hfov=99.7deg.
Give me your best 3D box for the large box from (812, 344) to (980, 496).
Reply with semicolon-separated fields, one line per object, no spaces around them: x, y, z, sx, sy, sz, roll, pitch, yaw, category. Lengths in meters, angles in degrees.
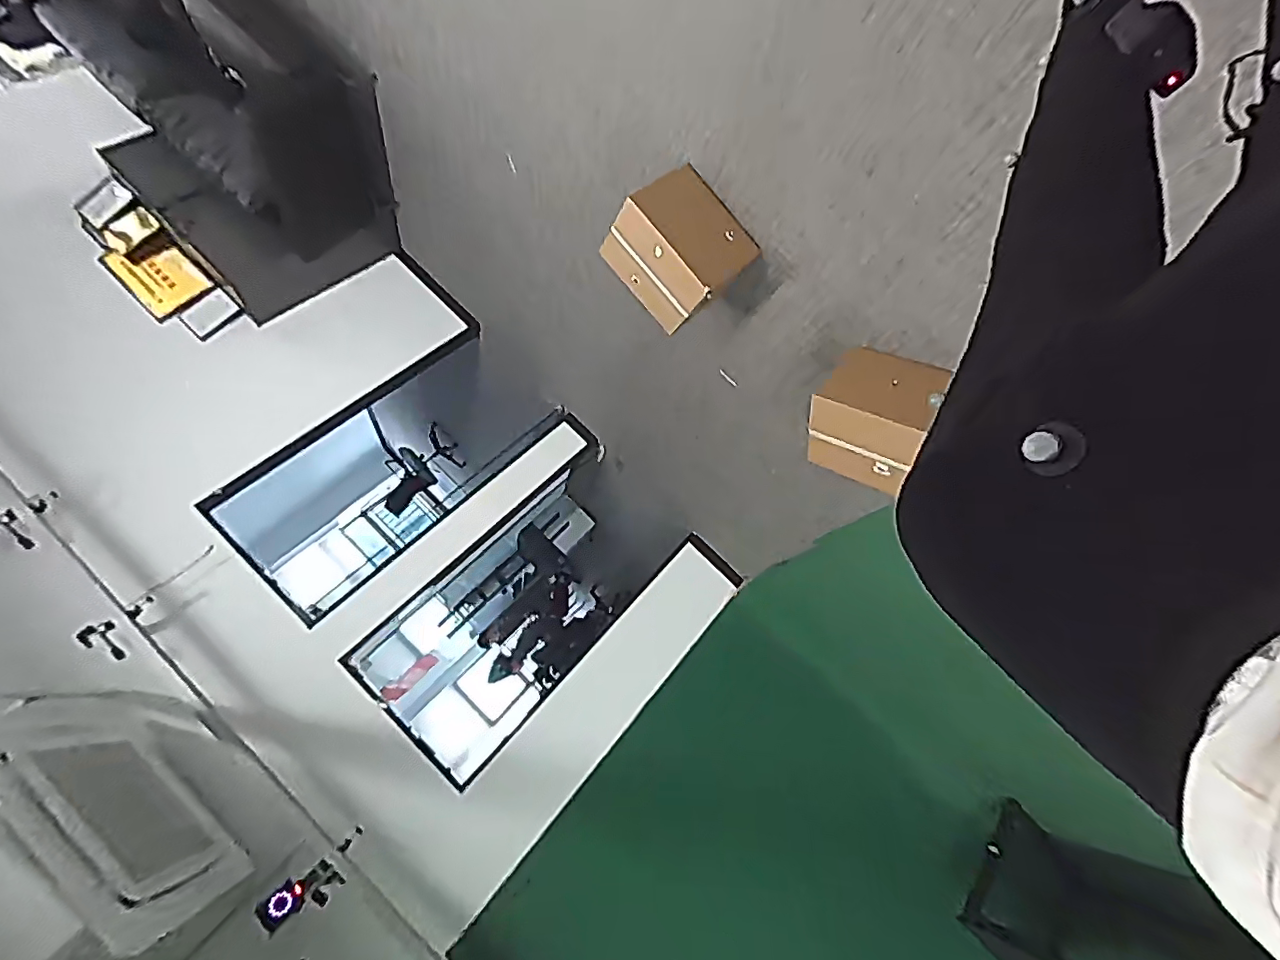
0.840;-0.214;1.819;0.408;0.320;0.320;27;150;33;large box
